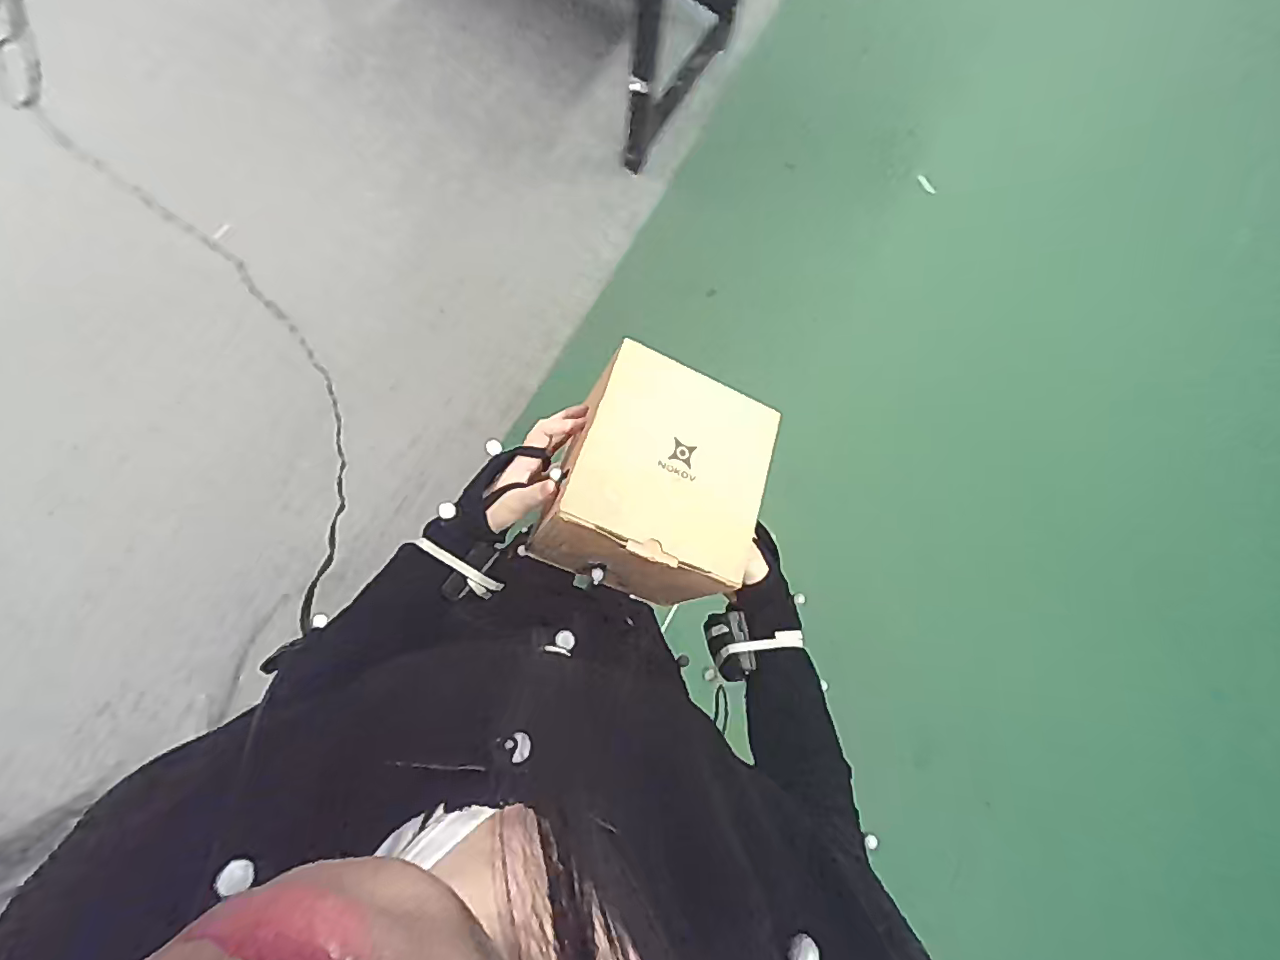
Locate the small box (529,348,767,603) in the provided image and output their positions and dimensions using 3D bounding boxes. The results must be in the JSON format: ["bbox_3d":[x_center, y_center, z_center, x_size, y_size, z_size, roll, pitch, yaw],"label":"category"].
[{"bbox_3d":[0.001,0.009,0.539,0.168,0.176,0.179,22,66,-13],"label":"small box"}]
